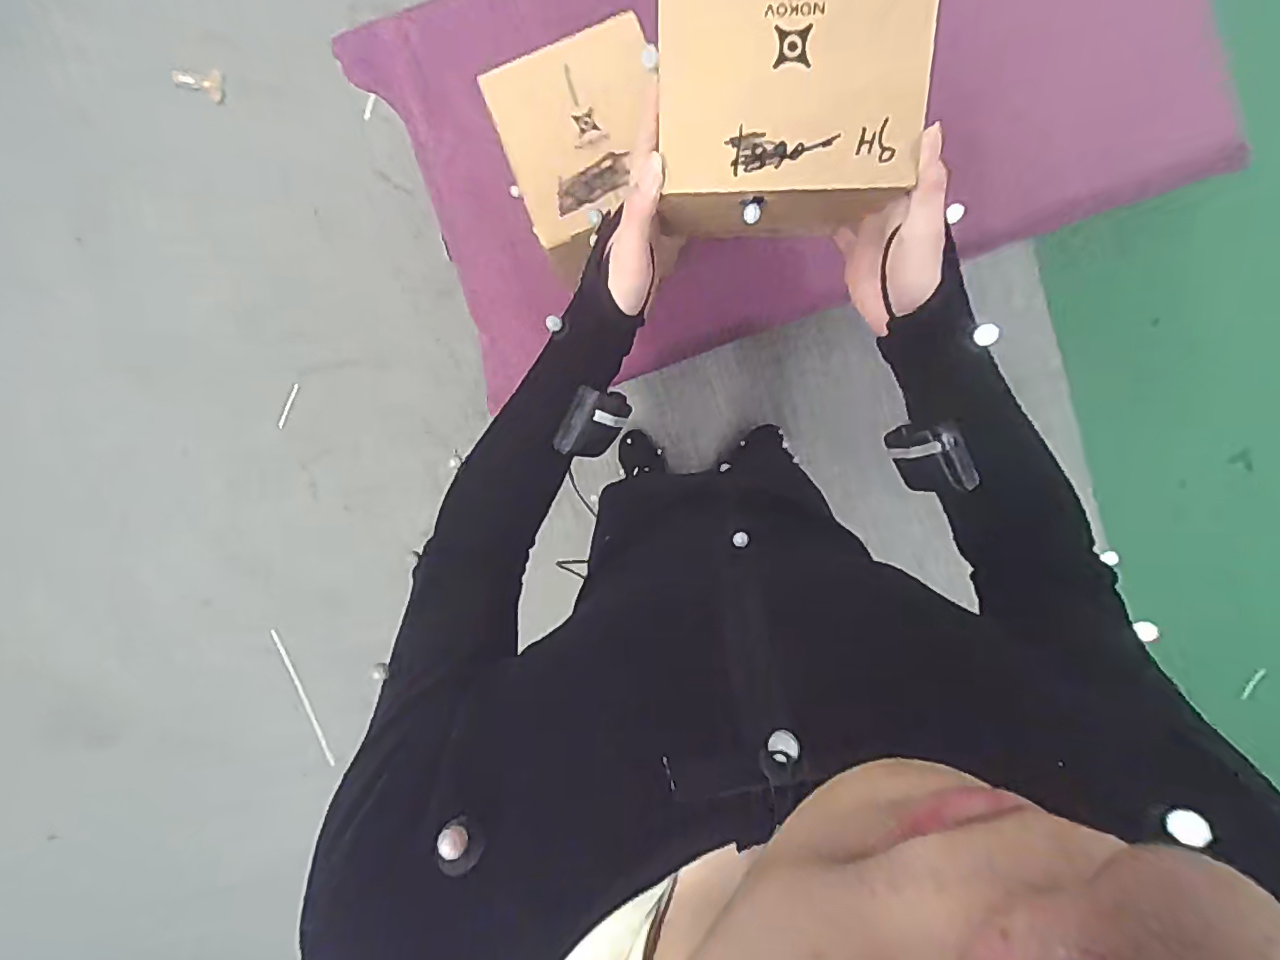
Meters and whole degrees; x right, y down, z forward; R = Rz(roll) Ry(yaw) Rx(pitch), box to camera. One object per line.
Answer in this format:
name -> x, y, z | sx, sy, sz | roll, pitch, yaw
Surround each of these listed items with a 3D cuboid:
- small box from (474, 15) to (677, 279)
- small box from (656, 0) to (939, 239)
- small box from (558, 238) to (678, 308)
small box -> -0.054, -0.344, 0.606 | 0.168, 0.176, 0.179 | -21, 94, 3
small box -> 0.096, -0.288, 0.398 | 0.168, 0.176, 0.179 | 1, 105, 3
small box -> -0.056, -0.369, 0.769 | 0.168, 0.176, 0.179 | -21, 96, 3
